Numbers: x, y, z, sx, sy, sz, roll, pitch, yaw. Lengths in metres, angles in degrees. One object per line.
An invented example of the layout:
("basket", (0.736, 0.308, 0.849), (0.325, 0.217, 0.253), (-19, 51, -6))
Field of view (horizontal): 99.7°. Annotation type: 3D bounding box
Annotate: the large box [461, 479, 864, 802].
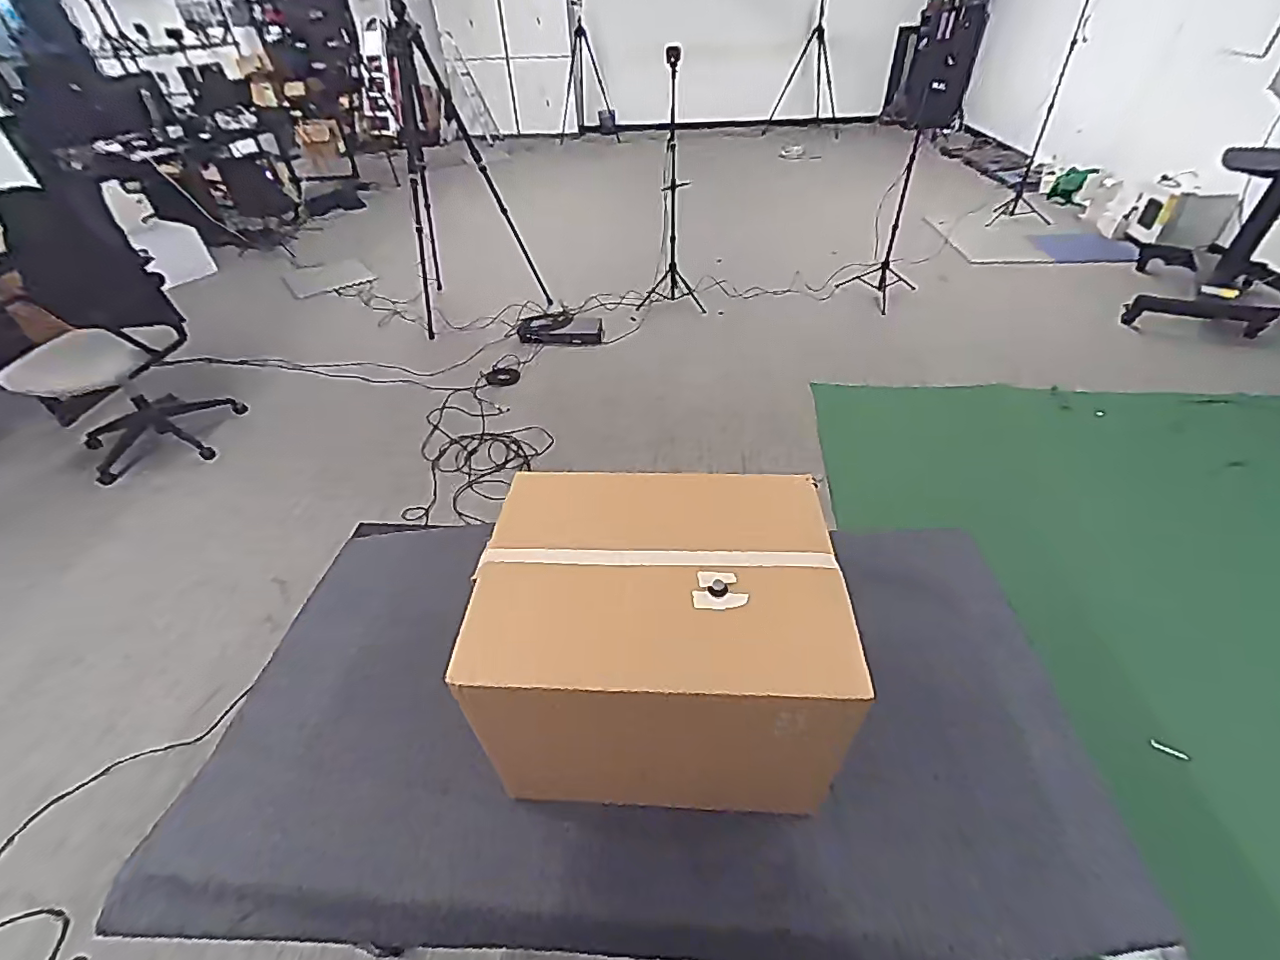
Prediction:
("large box", (0.027, 0.212, 0.732), (0.408, 0.320, 0.320), (1, 42, 3))
